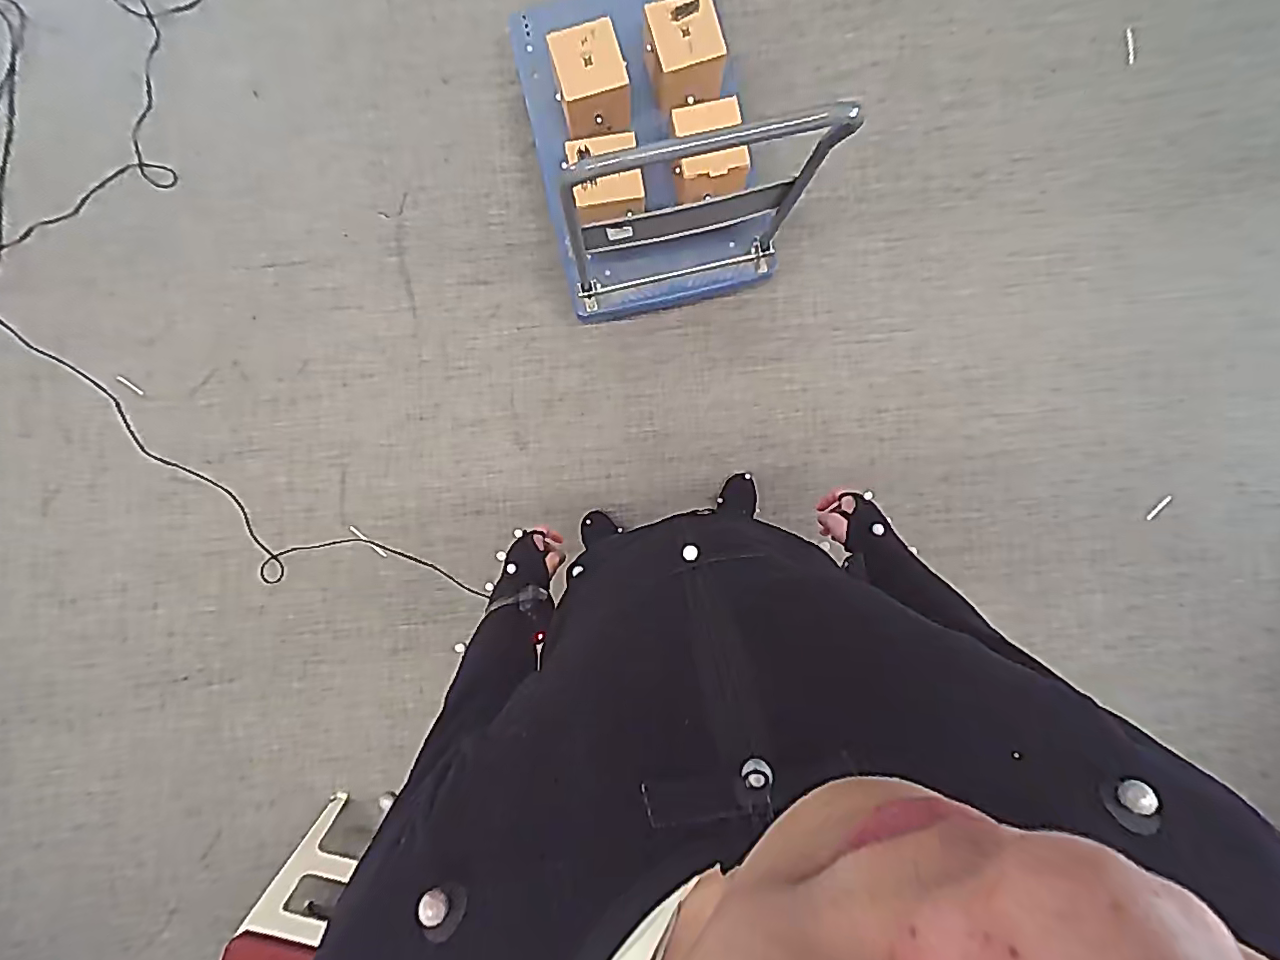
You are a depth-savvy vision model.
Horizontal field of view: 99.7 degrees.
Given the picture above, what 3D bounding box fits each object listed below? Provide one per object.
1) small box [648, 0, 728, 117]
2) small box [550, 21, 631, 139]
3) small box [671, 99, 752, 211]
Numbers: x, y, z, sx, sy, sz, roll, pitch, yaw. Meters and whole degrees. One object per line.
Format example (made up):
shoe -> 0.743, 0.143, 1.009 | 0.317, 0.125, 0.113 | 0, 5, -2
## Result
small box -> 0.119, -1.108, 1.419 | 0.168, 0.176, 0.179 | -16, 90, 1
small box -> -0.122, -1.034, 1.420 | 0.168, 0.176, 0.179 | -17, 89, -1
small box -> 0.180, -0.844, 1.416 | 0.168, 0.176, 0.179 | -12, 89, 0
